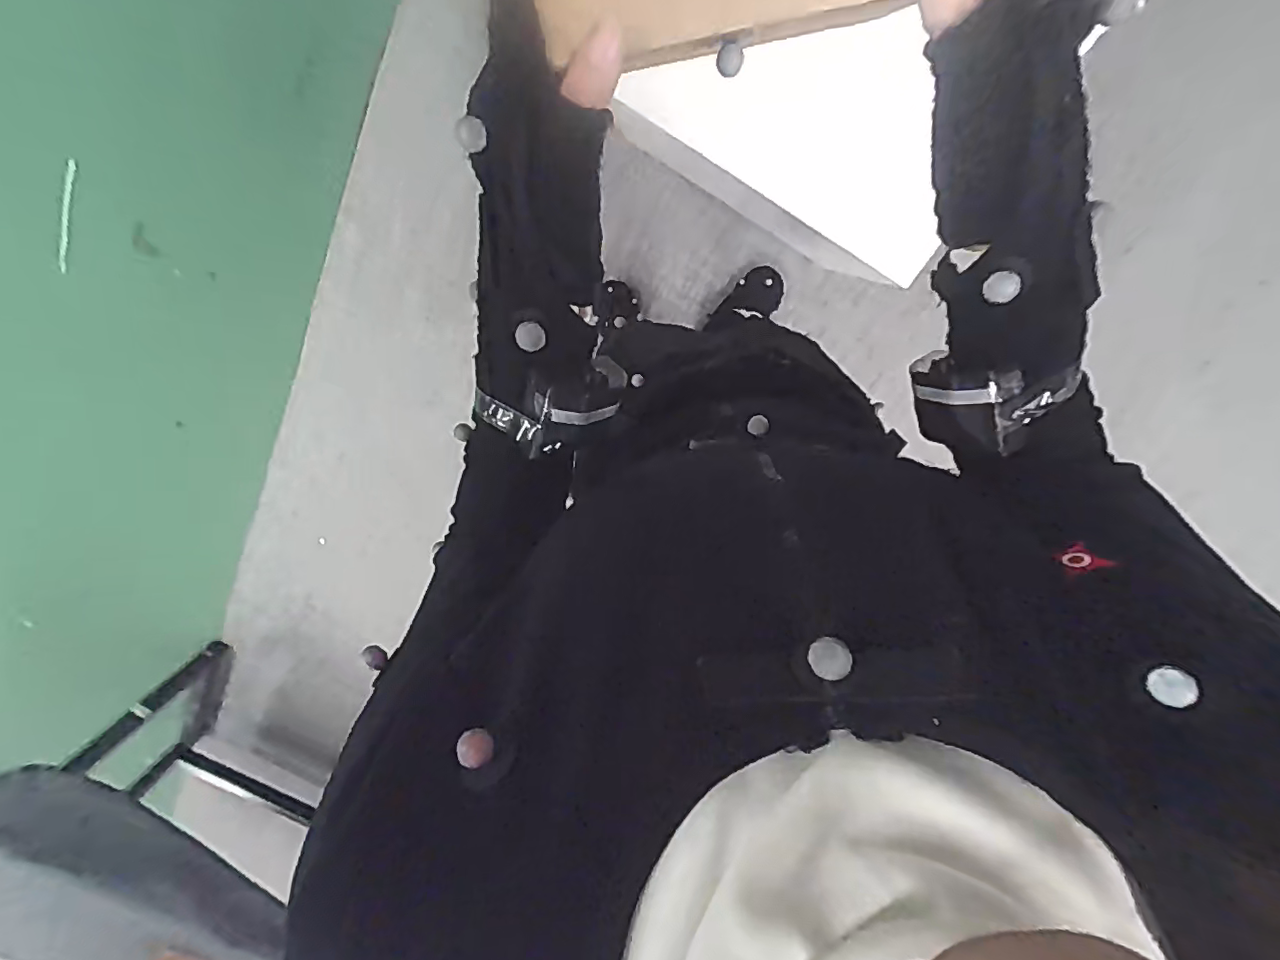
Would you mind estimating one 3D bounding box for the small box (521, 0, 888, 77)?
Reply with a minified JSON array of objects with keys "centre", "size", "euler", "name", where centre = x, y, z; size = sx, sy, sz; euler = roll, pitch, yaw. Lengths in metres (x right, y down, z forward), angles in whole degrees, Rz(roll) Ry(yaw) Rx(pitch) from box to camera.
[{"centre":[0.035,-0.292,0.233],"size":[0.179,0.176,0.168],"euler":[-6,124,9],"name":"small box"}]
